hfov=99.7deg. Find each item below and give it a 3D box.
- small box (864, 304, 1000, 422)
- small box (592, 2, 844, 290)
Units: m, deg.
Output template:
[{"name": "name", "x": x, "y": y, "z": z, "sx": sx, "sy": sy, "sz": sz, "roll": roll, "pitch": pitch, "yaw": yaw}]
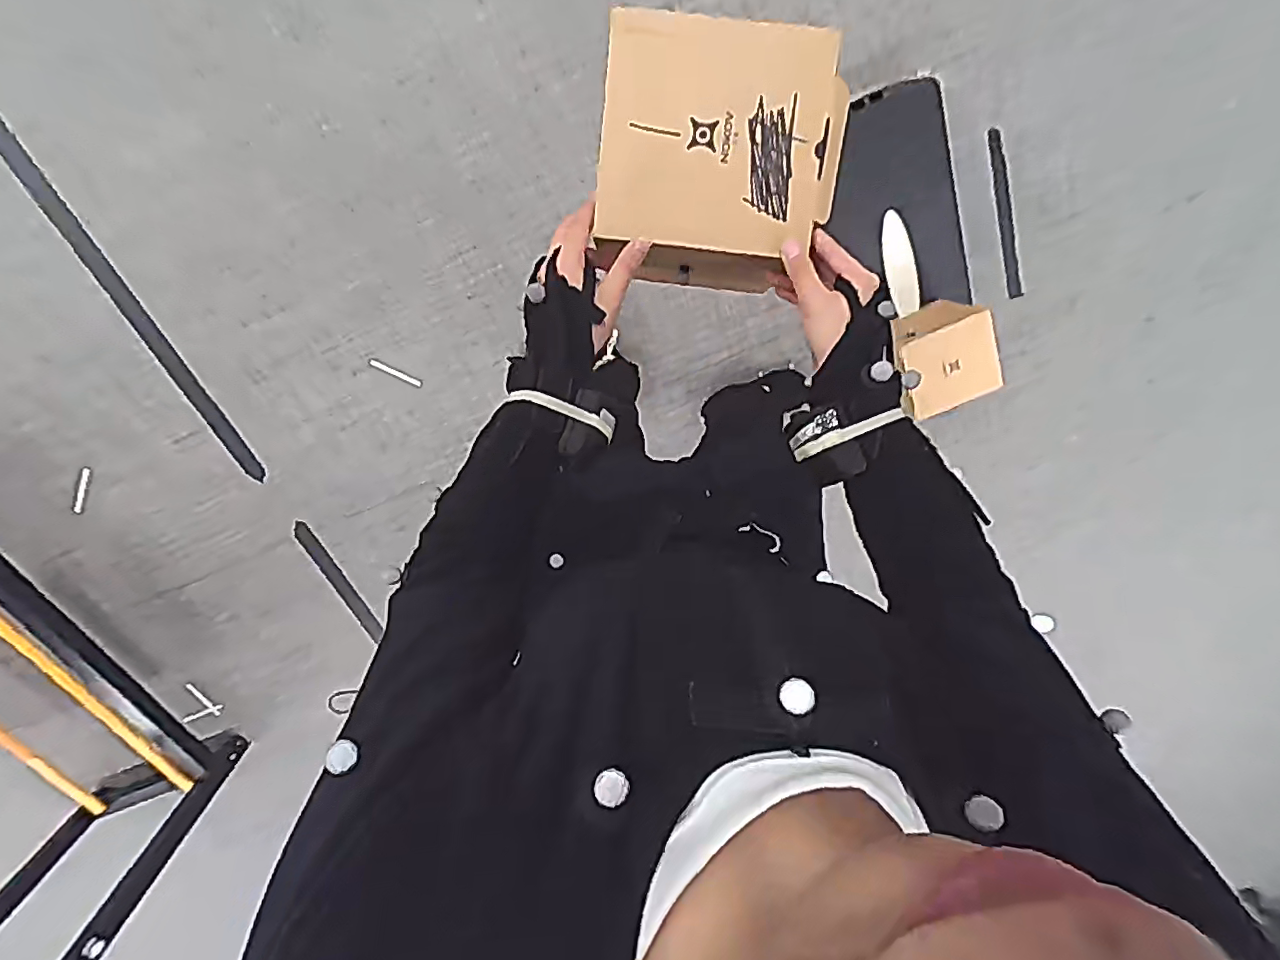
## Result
[{"name": "small box", "x": 0.598, "y": -0.249, "z": 1.120, "sx": 0.179, "sy": 0.176, "sz": 0.168, "roll": -23, "pitch": 113, "yaw": 8}, {"name": "small box", "x": 0.057, "y": -0.276, "z": 0.490, "sx": 0.179, "sy": 0.176, "sz": 0.168, "roll": 6, "pitch": 100, "yaw": 0}]
